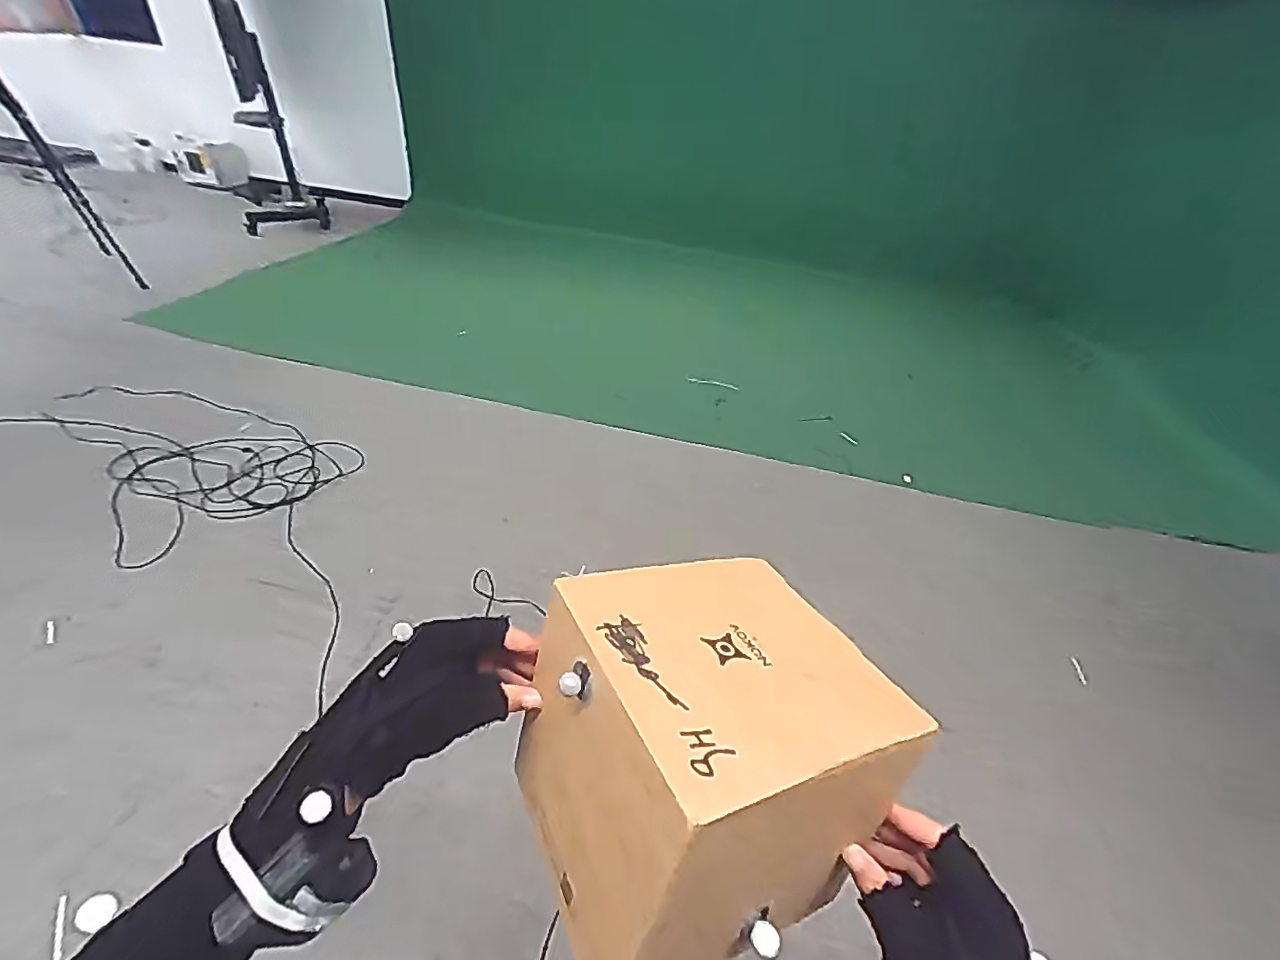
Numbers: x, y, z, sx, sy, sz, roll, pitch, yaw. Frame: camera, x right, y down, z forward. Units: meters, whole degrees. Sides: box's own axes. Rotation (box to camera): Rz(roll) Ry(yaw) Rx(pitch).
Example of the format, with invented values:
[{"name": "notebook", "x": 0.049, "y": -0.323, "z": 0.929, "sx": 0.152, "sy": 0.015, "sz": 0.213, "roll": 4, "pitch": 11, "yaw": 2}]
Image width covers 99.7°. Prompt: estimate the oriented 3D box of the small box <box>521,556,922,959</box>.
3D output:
[{"name": "small box", "x": 0.036, "y": 0.170, "z": 0.362, "sx": 0.179, "sy": 0.176, "sz": 0.168, "roll": 1, "pitch": 26, "yaw": -31}]
